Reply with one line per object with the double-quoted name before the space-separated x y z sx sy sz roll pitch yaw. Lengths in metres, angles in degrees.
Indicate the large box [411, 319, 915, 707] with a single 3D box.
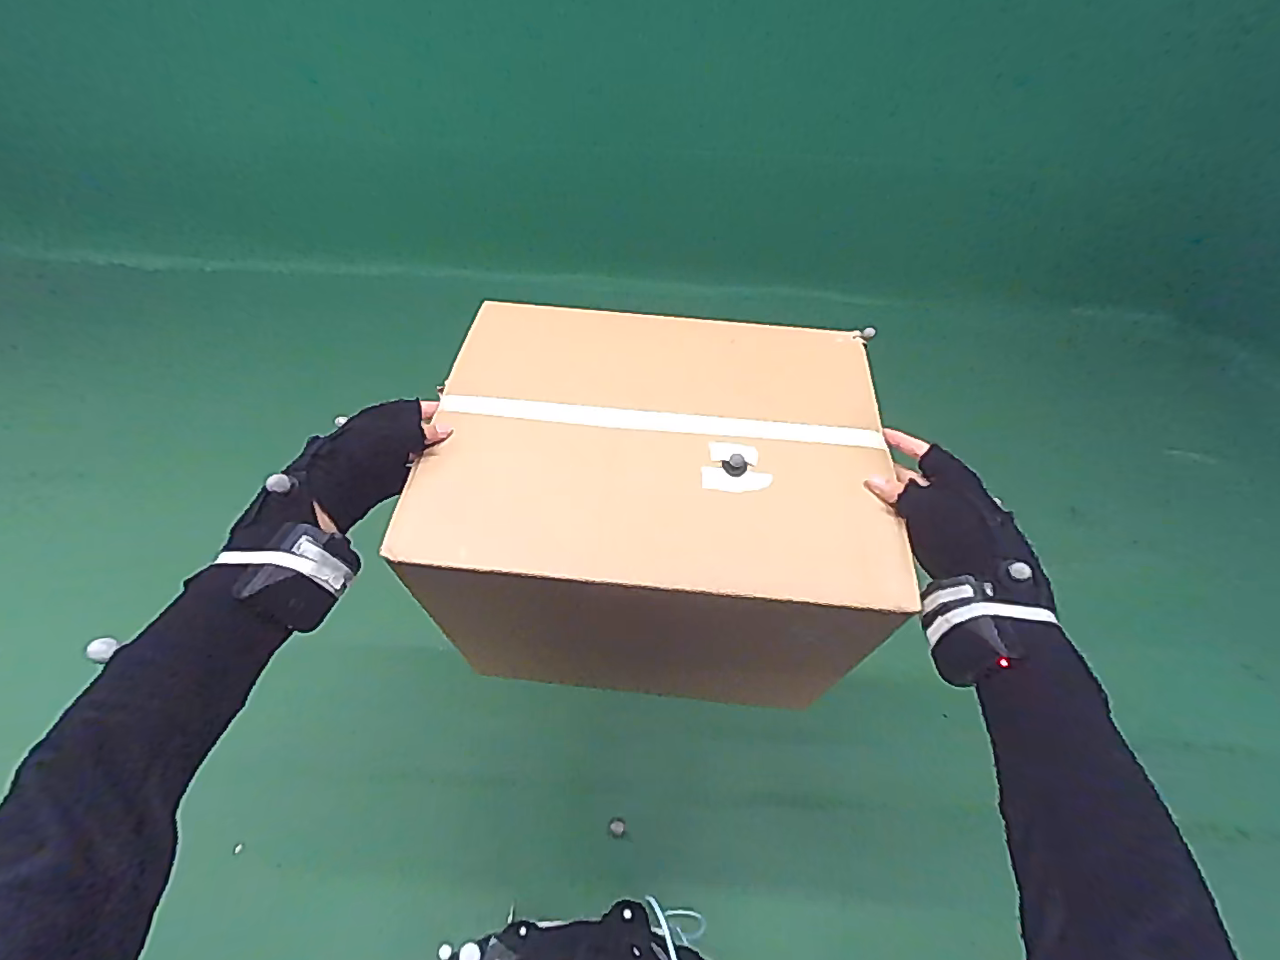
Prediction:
"large box" 0.020 0.049 0.624 0.408 0.320 0.320 6 55 1
